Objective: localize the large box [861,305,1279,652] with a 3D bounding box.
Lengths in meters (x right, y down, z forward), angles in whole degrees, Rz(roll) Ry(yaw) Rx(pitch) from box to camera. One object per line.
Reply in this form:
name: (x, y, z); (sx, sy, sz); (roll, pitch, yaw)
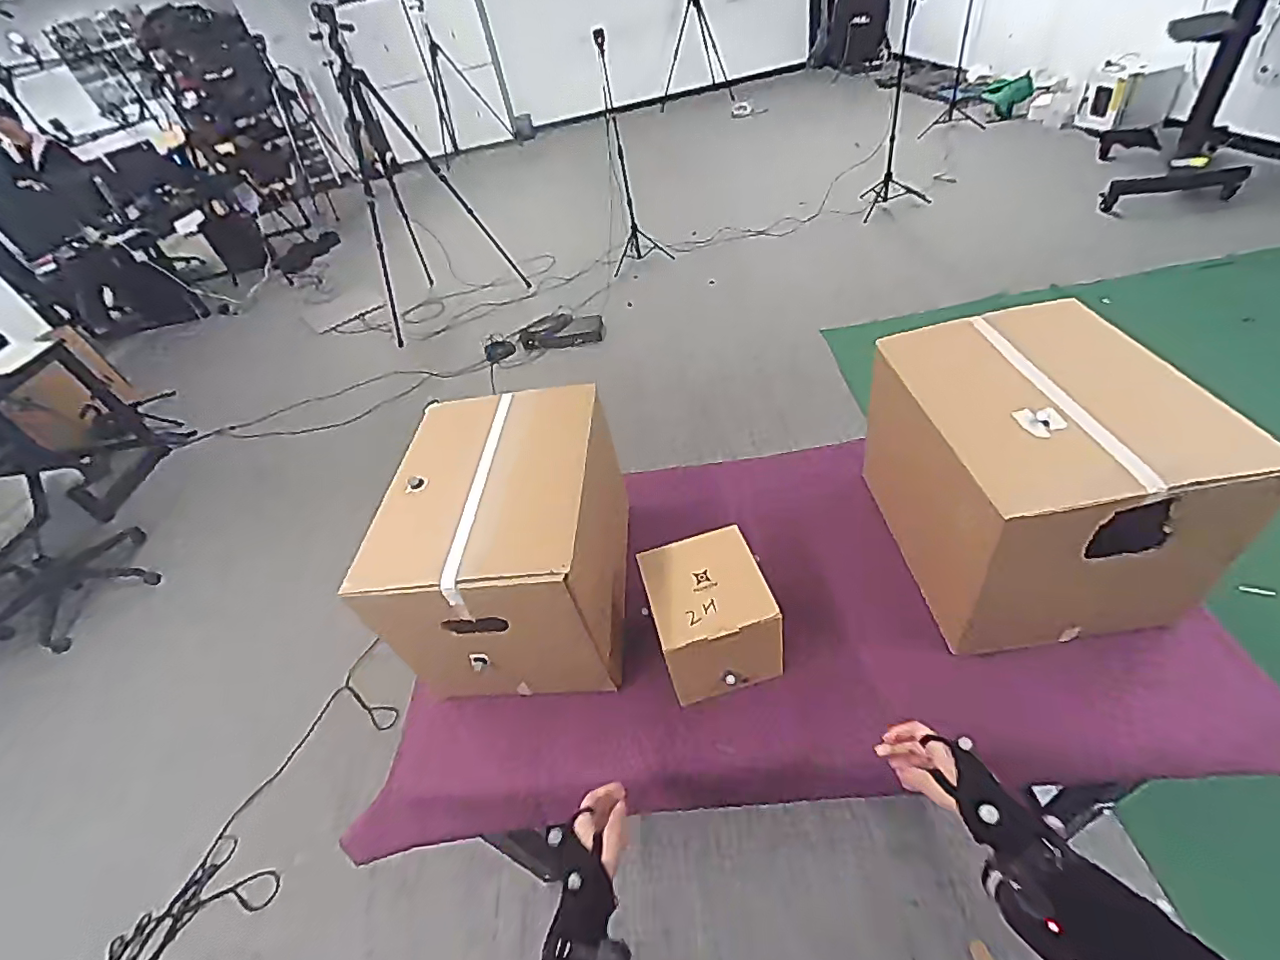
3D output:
large box: (0.571, -0.010, 0.825); (0.320, 0.320, 0.408); (-11, 43, 7)
